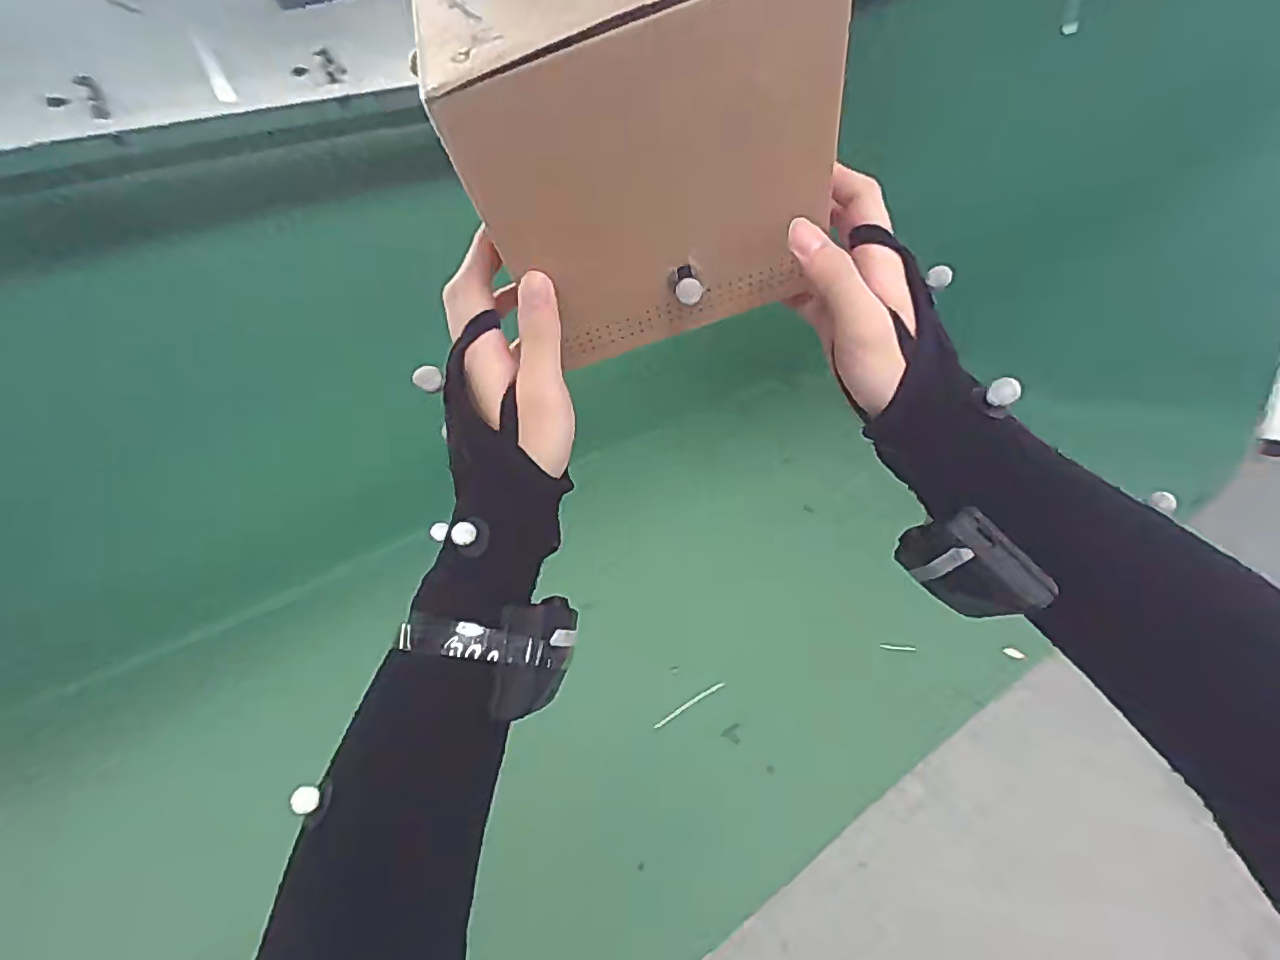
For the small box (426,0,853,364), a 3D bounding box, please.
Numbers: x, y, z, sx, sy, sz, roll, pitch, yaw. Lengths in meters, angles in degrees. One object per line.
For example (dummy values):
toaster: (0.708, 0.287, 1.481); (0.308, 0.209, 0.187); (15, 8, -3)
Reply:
small box: (-0.001, -0.200, 0.316); (0.179, 0.176, 0.168); (-18, 58, 4)
